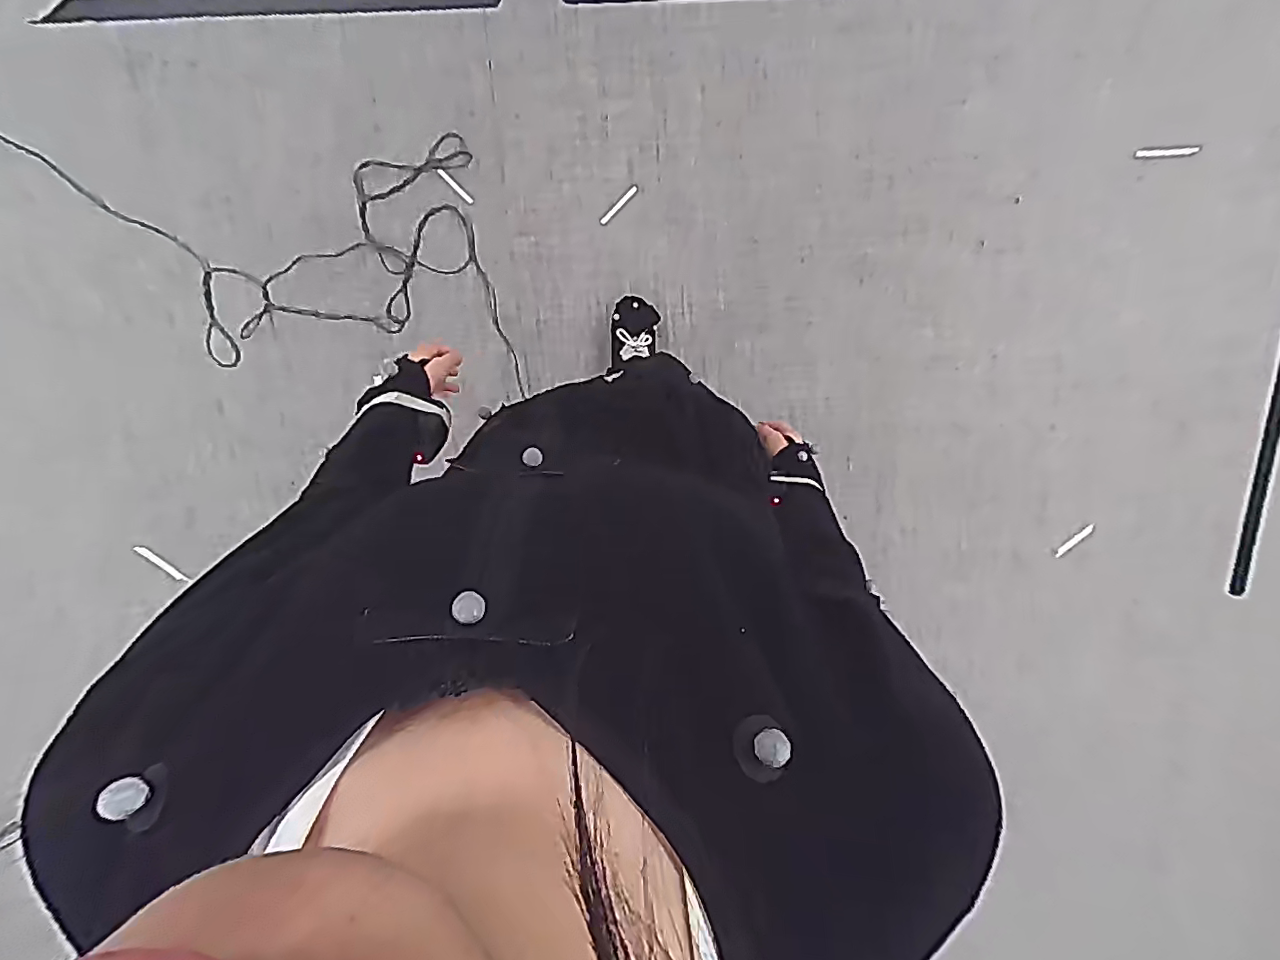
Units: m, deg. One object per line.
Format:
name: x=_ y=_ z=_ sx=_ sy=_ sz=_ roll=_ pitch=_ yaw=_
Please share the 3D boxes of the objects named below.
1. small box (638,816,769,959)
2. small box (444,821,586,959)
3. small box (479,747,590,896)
small box: x=0.086 y=0.621 z=0.786 sx=0.168 sy=0.176 sz=0.179 roll=-5 pitch=104 yaw=0
small box: x=-0.169 y=0.635 z=0.785 sx=0.168 sy=0.176 sz=0.179 roll=-2 pitch=103 yaw=-2
small box: x=-0.175 y=0.592 z=0.945 sx=0.168 sy=0.176 sz=0.179 roll=-1 pitch=104 yaw=-2
